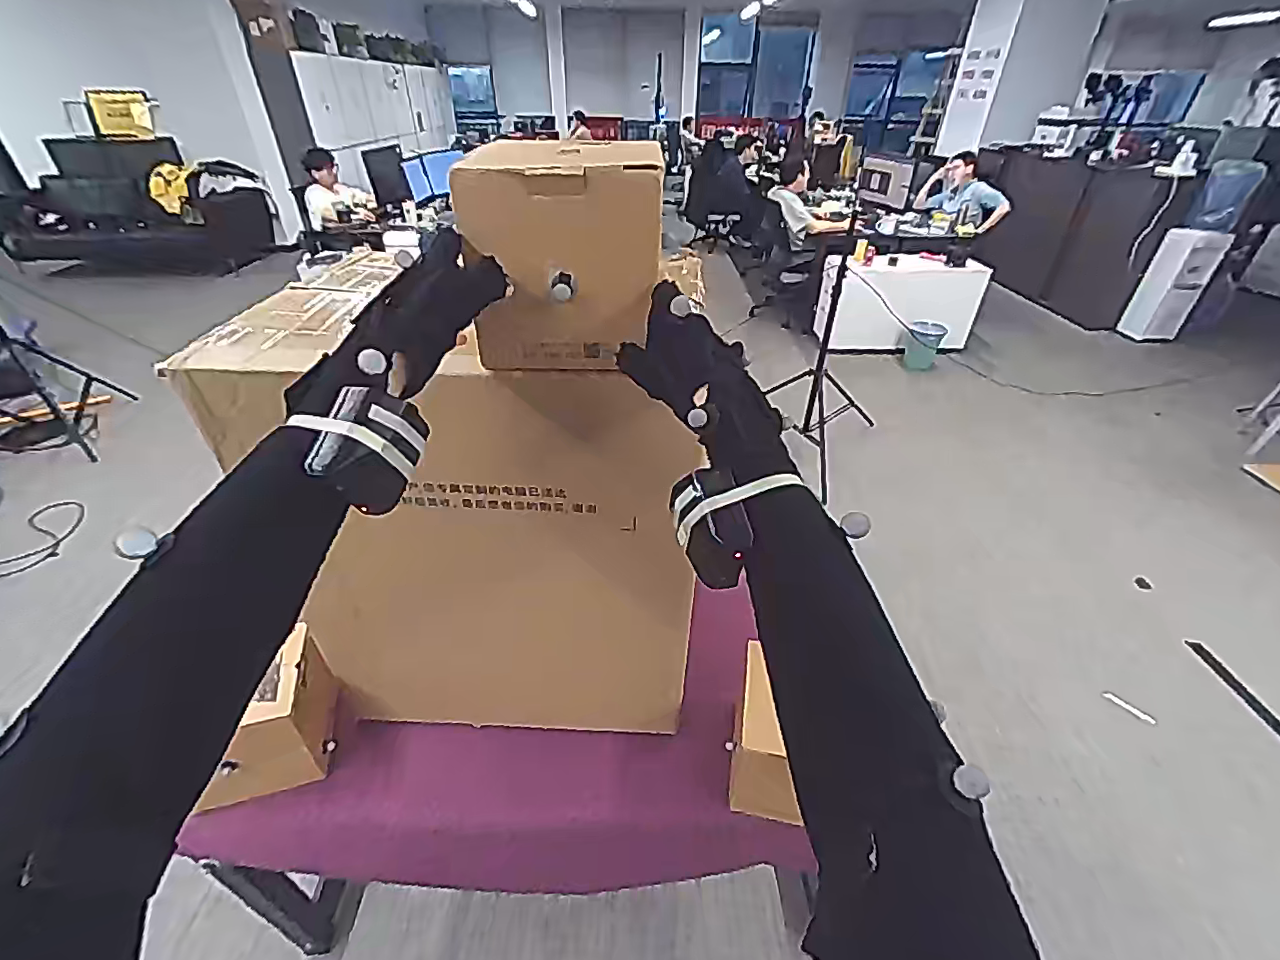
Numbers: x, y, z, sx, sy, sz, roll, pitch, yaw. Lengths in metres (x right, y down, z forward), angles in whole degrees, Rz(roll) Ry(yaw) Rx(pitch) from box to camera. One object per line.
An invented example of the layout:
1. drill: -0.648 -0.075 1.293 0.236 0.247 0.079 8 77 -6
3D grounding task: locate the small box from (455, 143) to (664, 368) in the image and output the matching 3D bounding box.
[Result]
1. small box: -0.060 -0.218 0.526 0.168 0.176 0.179 0 37 0

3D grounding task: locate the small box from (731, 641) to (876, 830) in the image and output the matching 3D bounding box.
1. small box: 0.226 0.368 0.783 0.168 0.176 0.179 8 34 8

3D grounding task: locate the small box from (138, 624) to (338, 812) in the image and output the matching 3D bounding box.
1. small box: -0.564 0.345 0.794 0.179 0.176 0.168 -9 36 -16
